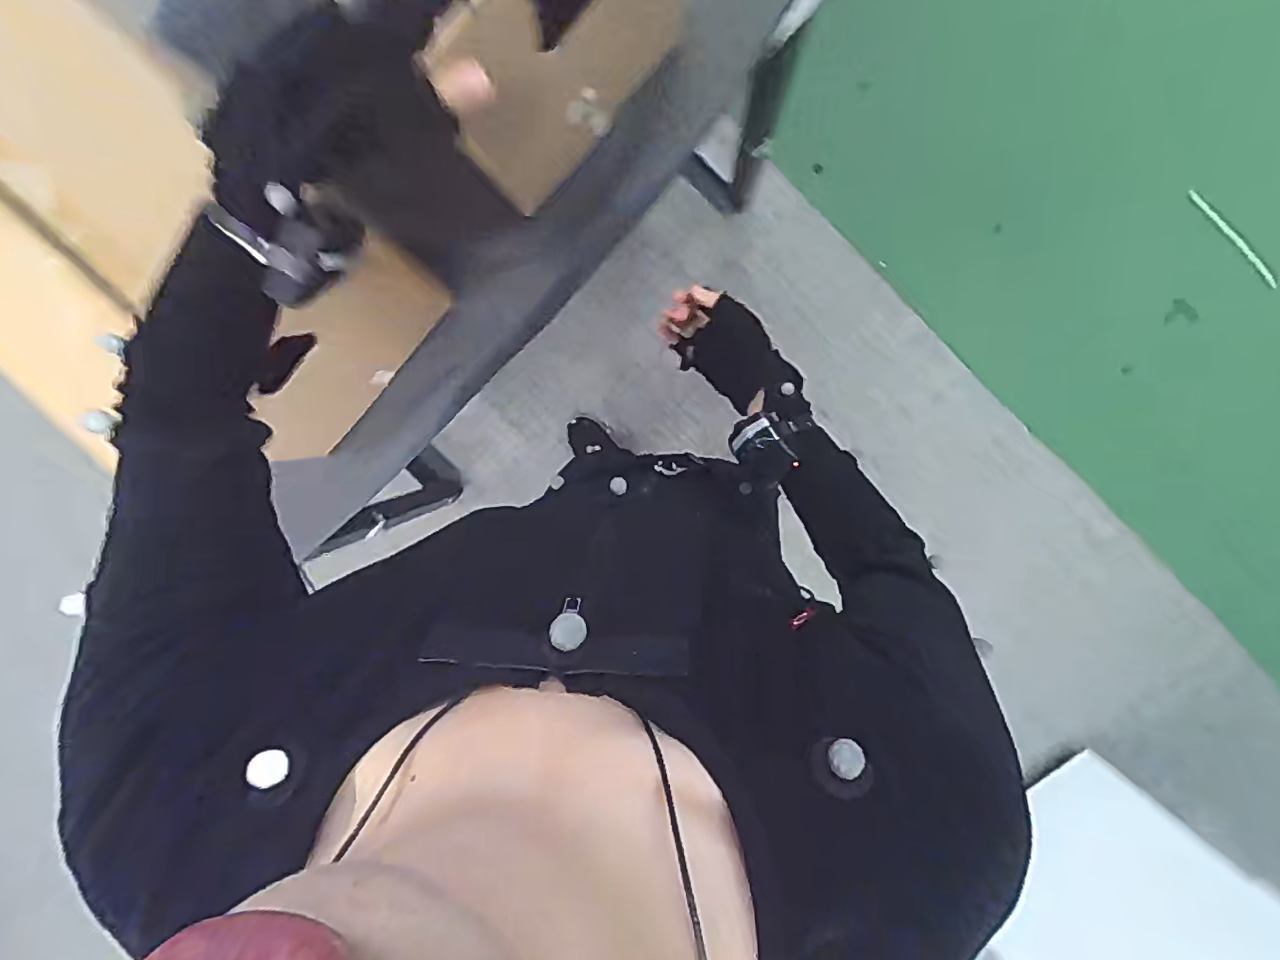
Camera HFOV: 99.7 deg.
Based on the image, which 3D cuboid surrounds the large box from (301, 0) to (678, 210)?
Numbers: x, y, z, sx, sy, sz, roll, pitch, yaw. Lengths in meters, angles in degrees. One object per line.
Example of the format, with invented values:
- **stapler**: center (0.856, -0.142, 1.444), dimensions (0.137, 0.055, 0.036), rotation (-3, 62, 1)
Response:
- **large box**: center (-0.209, -0.591, 0.578), dimensions (0.408, 0.320, 0.320), rotation (44, 97, 0)
